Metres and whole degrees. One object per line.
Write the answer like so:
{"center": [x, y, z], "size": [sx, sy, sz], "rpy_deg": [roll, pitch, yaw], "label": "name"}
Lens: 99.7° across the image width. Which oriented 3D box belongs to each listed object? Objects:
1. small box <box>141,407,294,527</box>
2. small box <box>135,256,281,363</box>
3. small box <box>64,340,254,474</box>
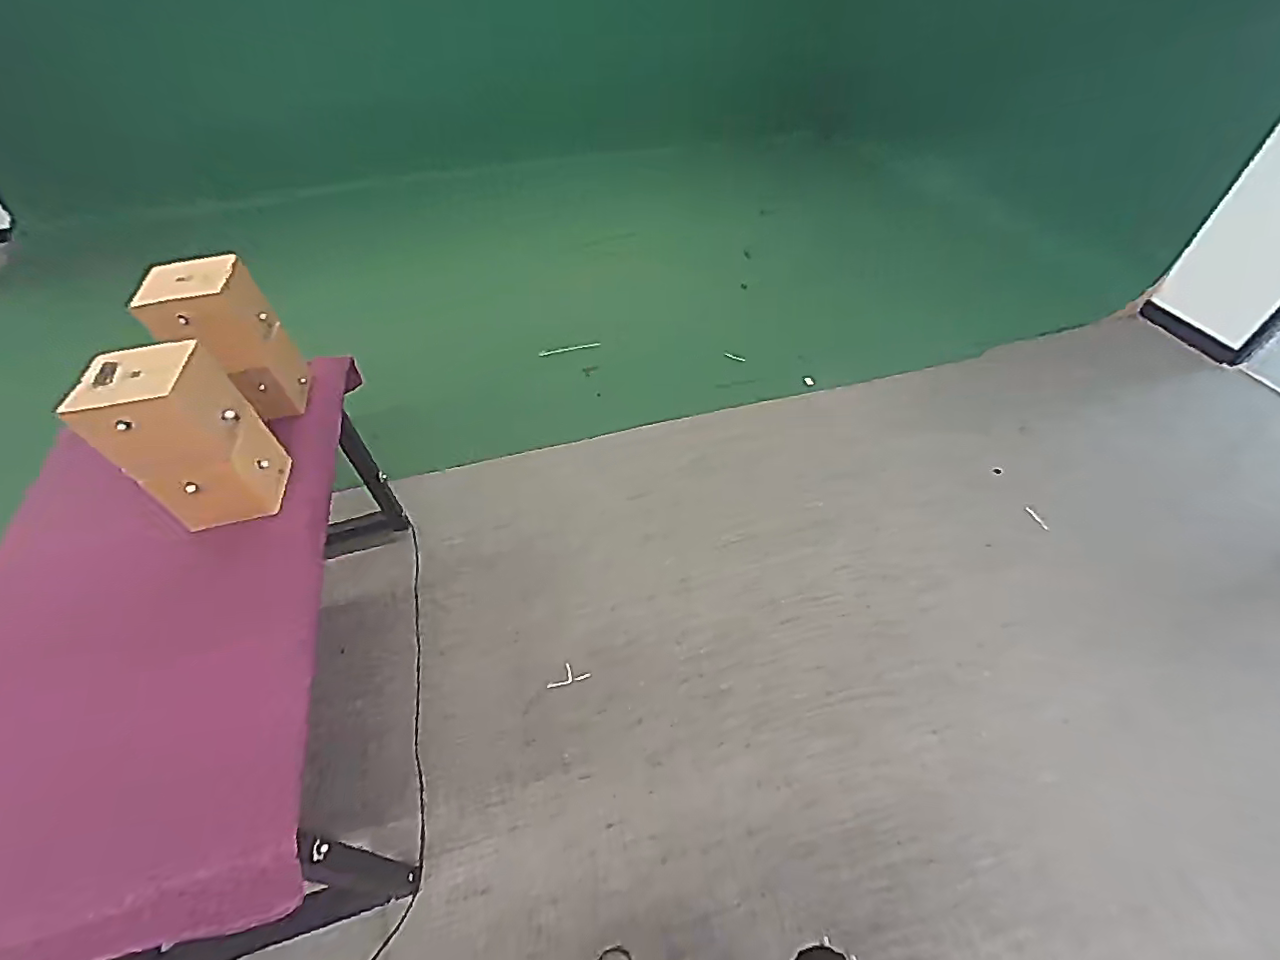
{"center": [-0.862, -0.024, 1.129], "size": [0.179, 0.176, 0.168], "rpy_deg": [-12, 50, -6], "label": "small box"}
{"center": [-0.951, -0.371, 1.210], "size": [0.179, 0.176, 0.168], "rpy_deg": [-12, 51, -8], "label": "small box"}
{"center": [-0.874, -0.131, 1.005], "size": [0.179, 0.176, 0.168], "rpy_deg": [-11, 50, -6], "label": "small box"}
